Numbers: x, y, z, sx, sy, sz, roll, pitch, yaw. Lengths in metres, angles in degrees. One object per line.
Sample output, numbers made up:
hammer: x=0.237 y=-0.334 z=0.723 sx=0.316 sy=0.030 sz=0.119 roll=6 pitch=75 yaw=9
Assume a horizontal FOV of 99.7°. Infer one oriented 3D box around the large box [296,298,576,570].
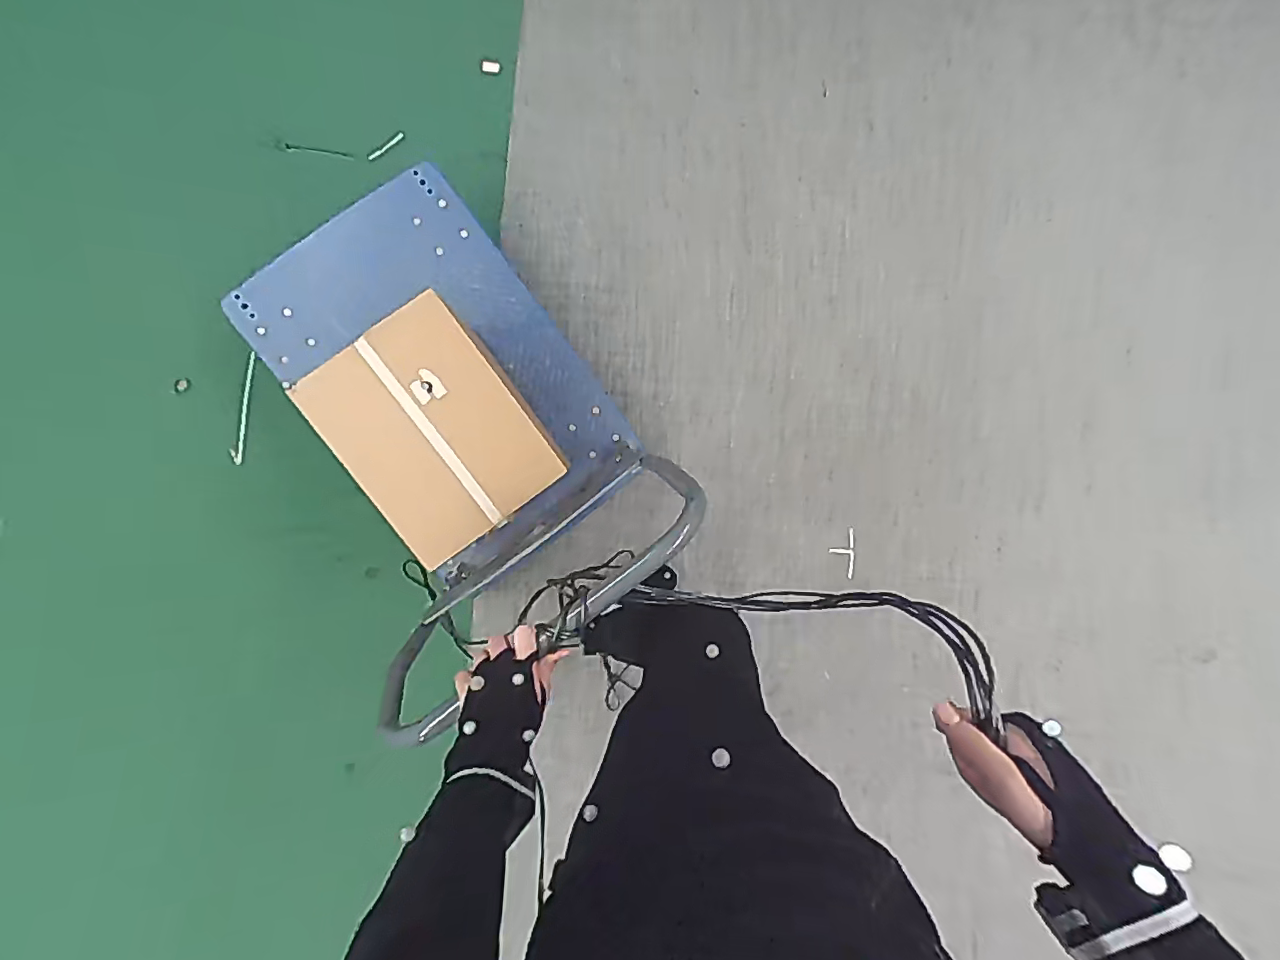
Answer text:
large box: x=-0.376 y=-0.087 z=1.118 sx=0.320 sy=0.320 sz=0.408 roll=-37 pitch=95 yaw=-3
